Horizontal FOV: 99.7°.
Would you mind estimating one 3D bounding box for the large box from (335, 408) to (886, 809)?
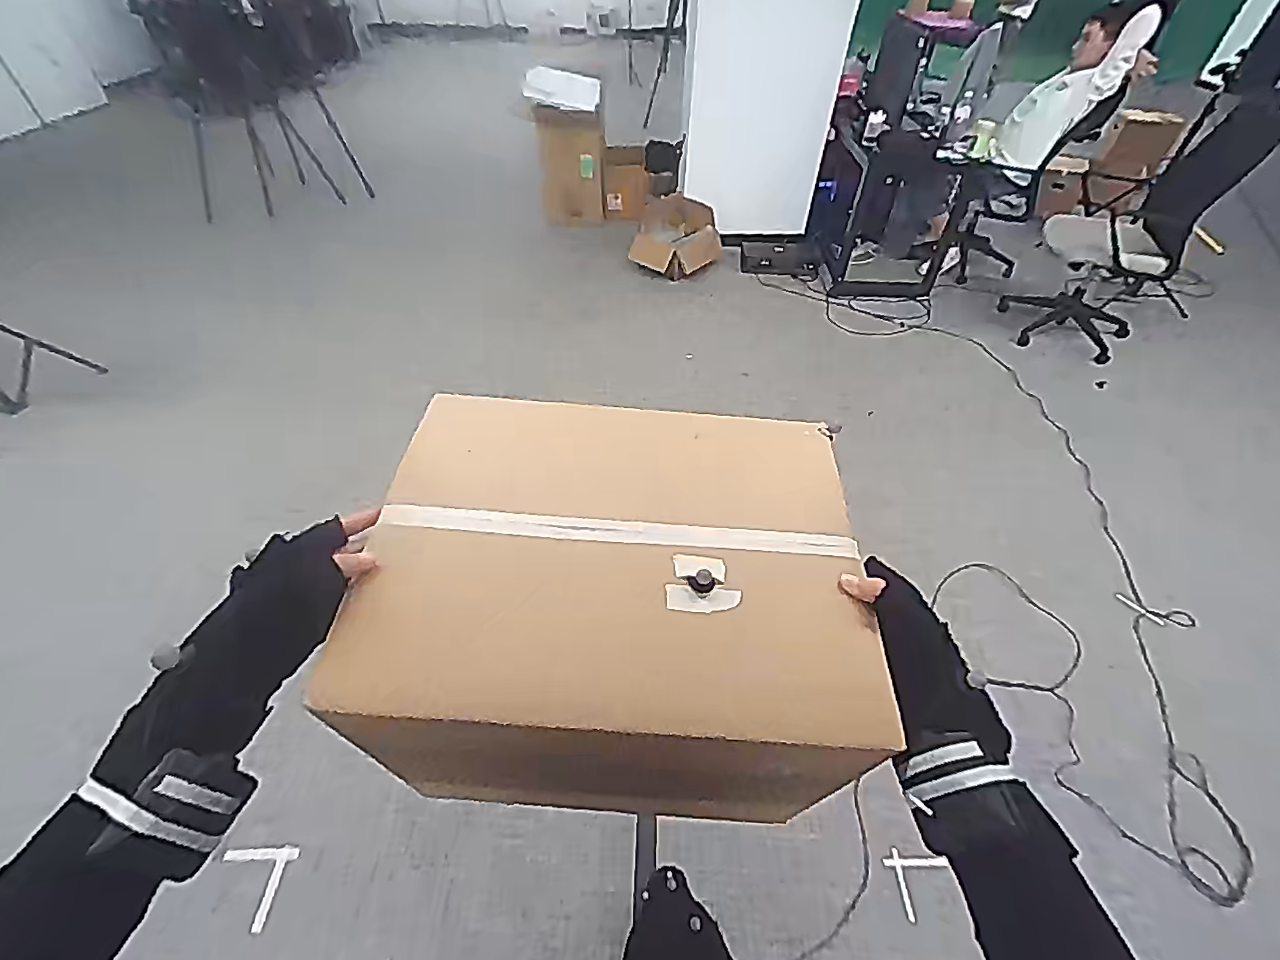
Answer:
[{"bbox_3d":[-0.023,0.148,0.591,0.408,0.320,0.320,5,50,-1],"label":"large box"}]
